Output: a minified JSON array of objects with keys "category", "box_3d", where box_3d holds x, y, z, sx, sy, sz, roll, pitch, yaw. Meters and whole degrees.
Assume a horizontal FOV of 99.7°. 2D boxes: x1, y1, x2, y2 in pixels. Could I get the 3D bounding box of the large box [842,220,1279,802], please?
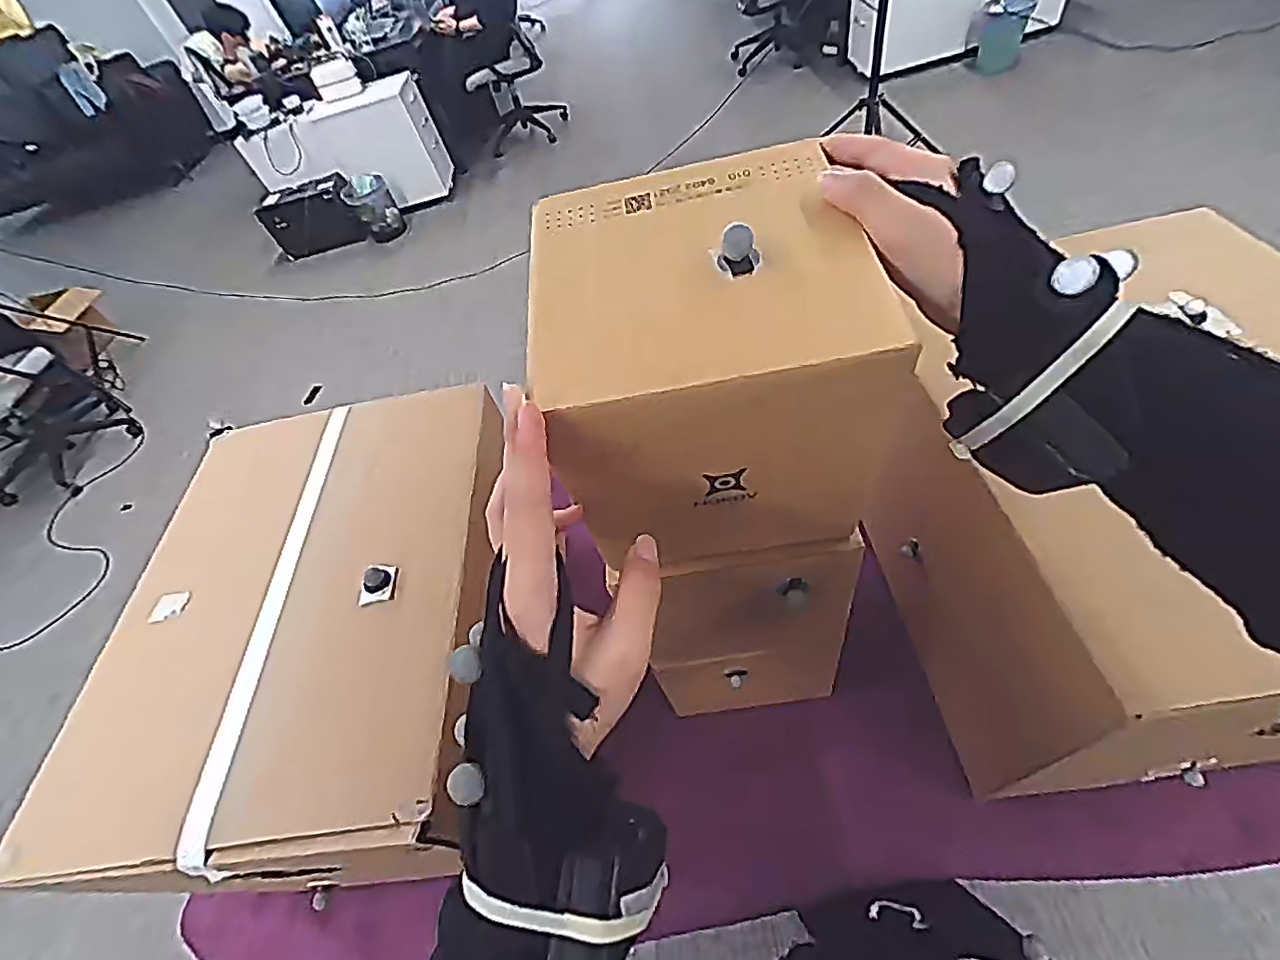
[{"category":"large box","box_3d":[0.417,0.030,0.508,0.320,0.320,0.408,-12,50,5]}]
